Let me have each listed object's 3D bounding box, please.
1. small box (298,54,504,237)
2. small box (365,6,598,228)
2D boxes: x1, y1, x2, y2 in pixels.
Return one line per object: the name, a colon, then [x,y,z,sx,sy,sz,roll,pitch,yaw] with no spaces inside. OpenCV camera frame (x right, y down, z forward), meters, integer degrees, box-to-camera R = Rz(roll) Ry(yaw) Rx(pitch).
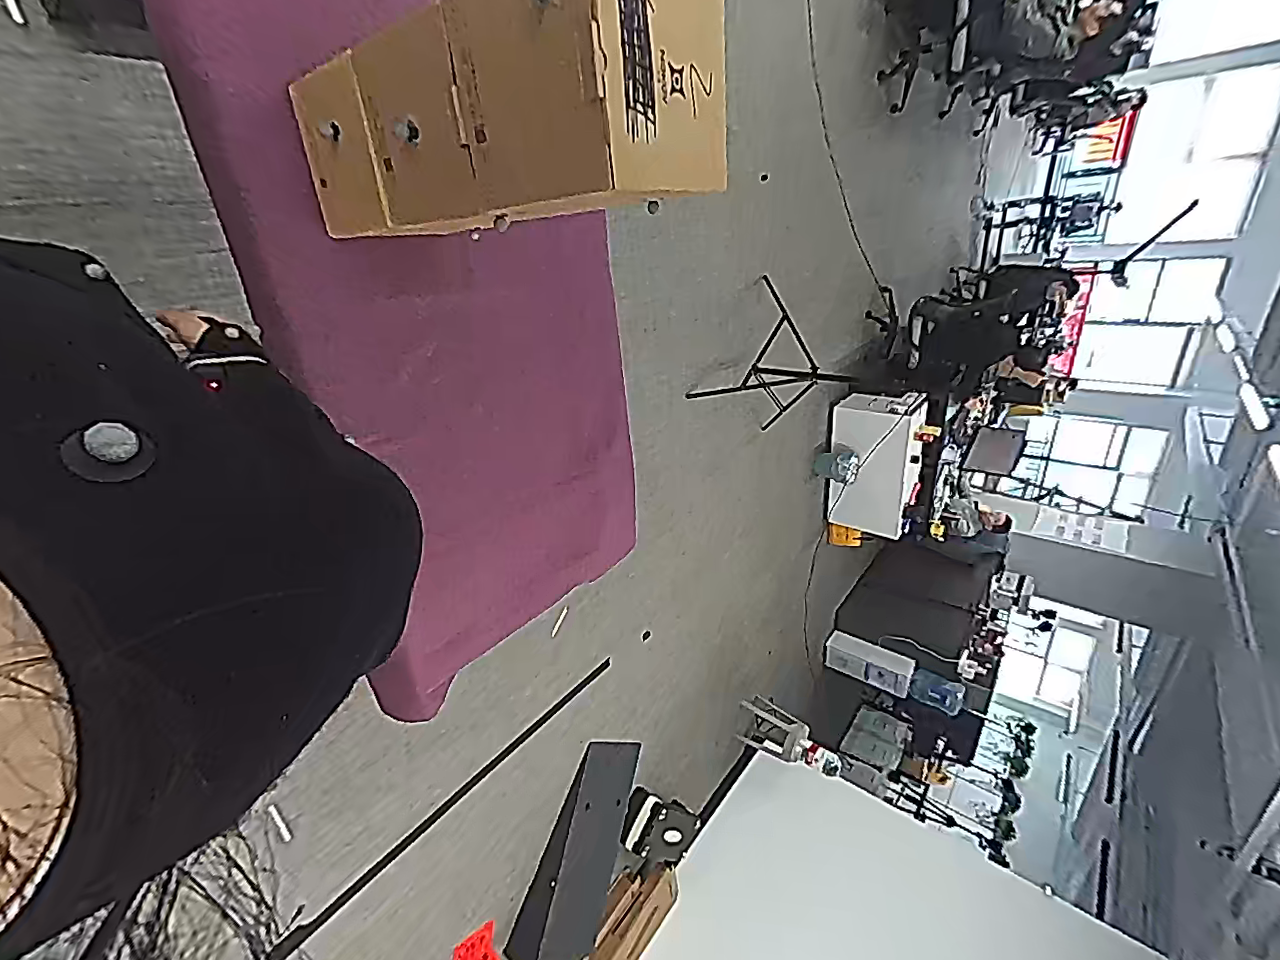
small box: [-0.304,-0.407,0.690,0.179,0.176,0.168,-30,124,-44]
small box: [-0.173,-0.377,0.595,0.179,0.176,0.168,-32,126,-42]
